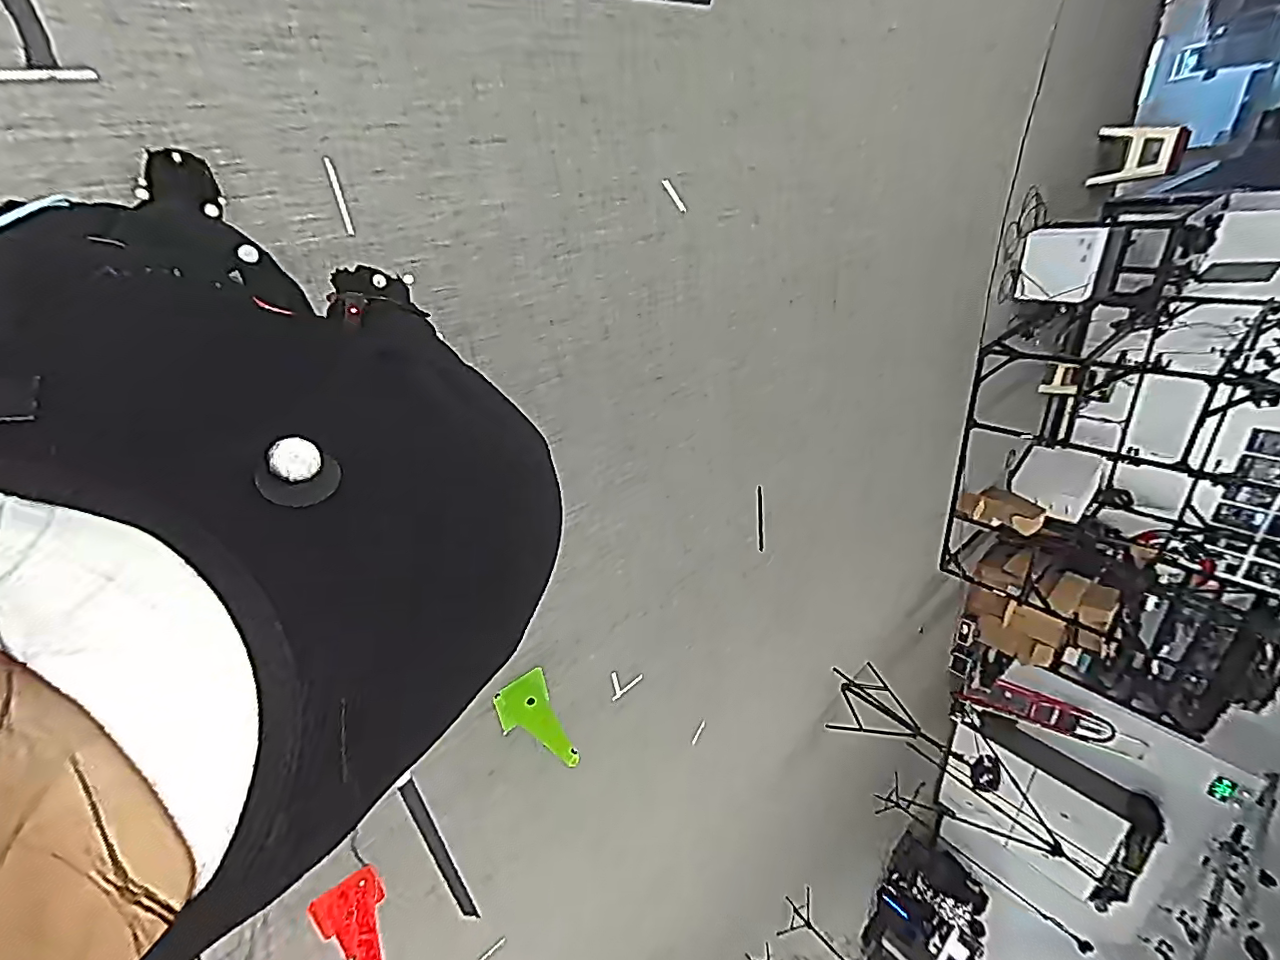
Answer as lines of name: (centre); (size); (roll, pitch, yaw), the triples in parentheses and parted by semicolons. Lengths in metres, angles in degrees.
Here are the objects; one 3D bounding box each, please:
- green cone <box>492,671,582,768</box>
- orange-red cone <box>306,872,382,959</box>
green cone: (-0.326, 0.873, 1.875); (0.202, 0.368, 0.200); (-27, 124, -33)
orange-red cone: (-0.854, 1.448, 1.642); (0.199, 0.360, 0.198); (-21, 119, -33)
